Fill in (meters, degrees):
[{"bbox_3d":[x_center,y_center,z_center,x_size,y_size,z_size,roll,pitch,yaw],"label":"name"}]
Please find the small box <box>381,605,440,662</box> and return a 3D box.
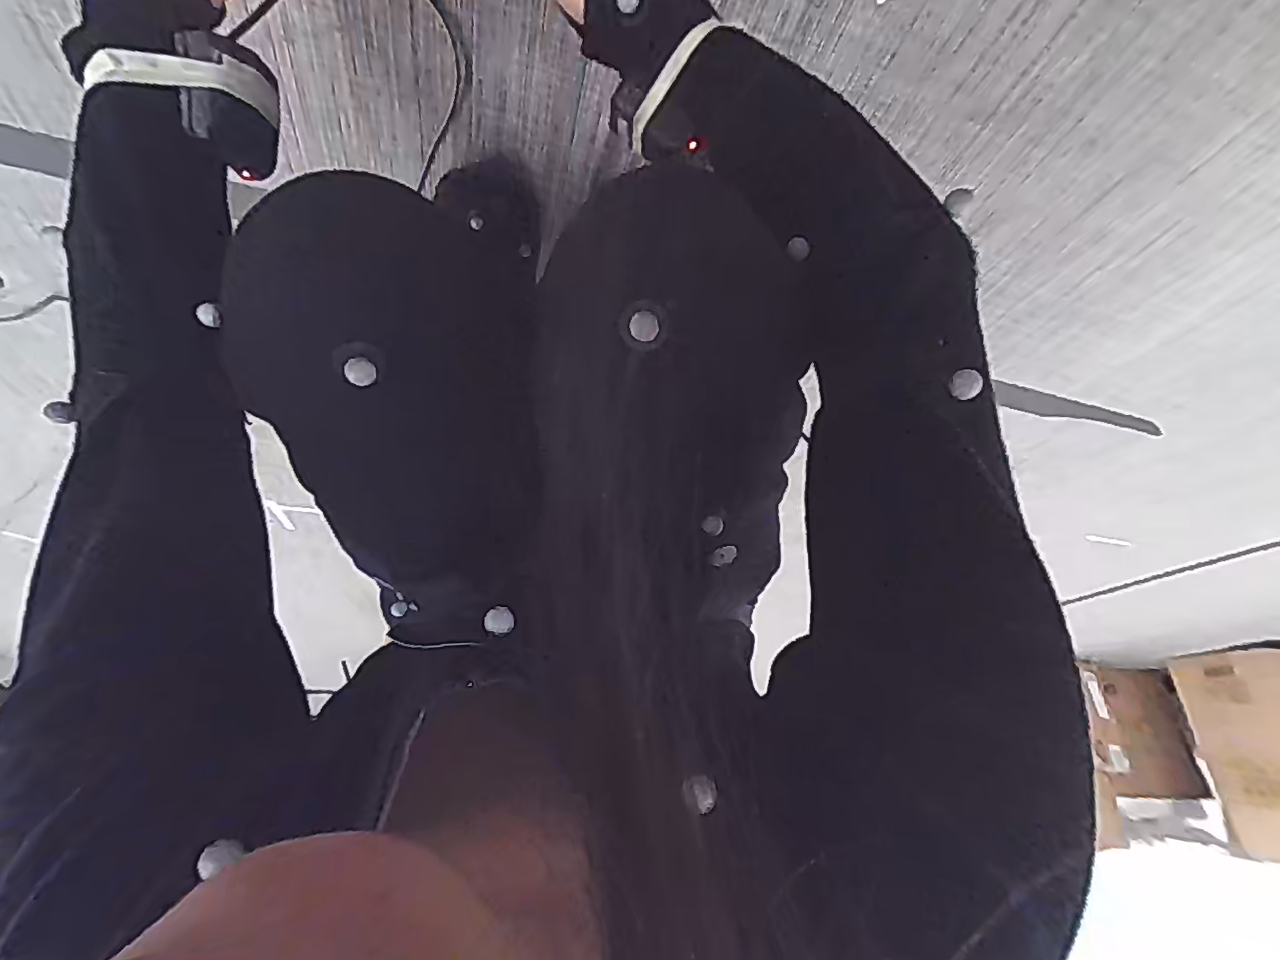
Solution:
[{"bbox_3d":[-0.850,0.575,2.019,0.168,0.176,0.179,8,152,-13],"label":"small box"}]
